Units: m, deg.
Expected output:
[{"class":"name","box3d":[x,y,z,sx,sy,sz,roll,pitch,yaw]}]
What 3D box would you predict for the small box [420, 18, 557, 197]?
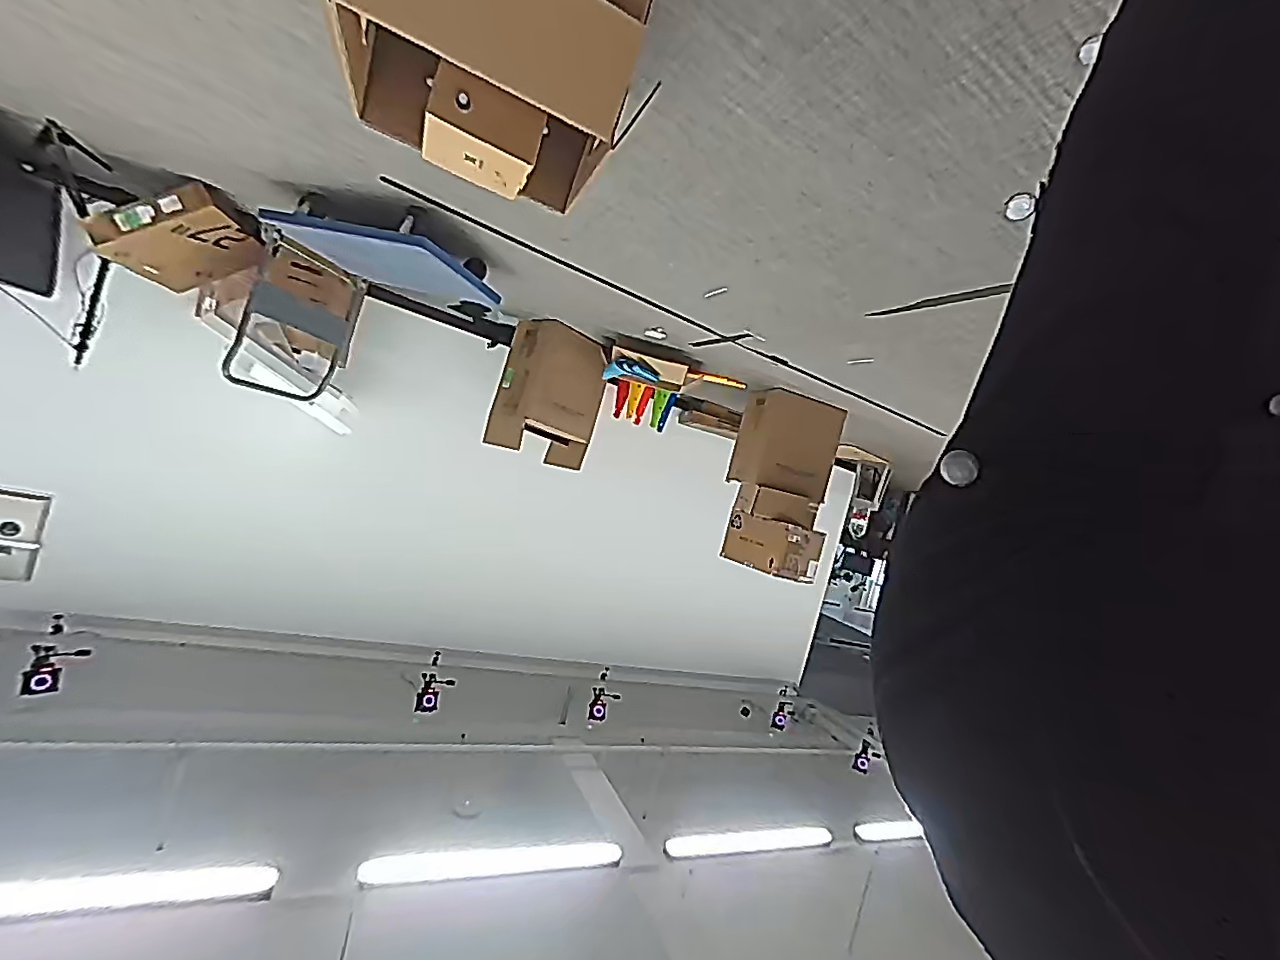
[{"class":"small box","box3d":[-0.263,-0.634,0.931,0.179,0.176,0.168,15,-179,-25]}]
